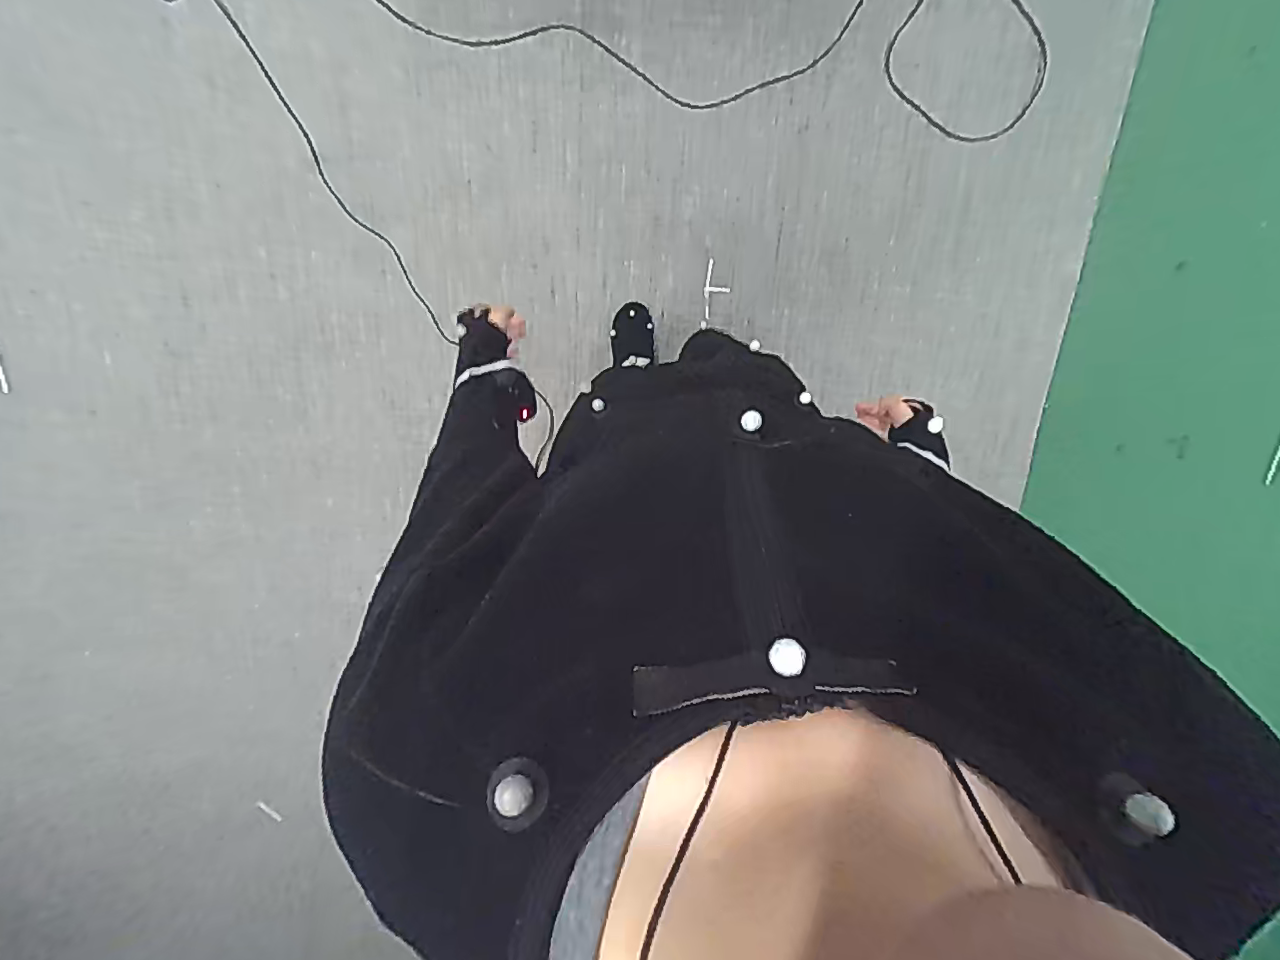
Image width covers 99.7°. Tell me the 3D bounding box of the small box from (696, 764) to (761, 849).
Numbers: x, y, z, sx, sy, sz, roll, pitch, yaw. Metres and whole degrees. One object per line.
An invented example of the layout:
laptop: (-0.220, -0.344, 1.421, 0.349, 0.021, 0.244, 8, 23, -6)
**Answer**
small box: (0.279, 1.050, 1.749, 0.179, 0.176, 0.168, -2, 106, -4)
